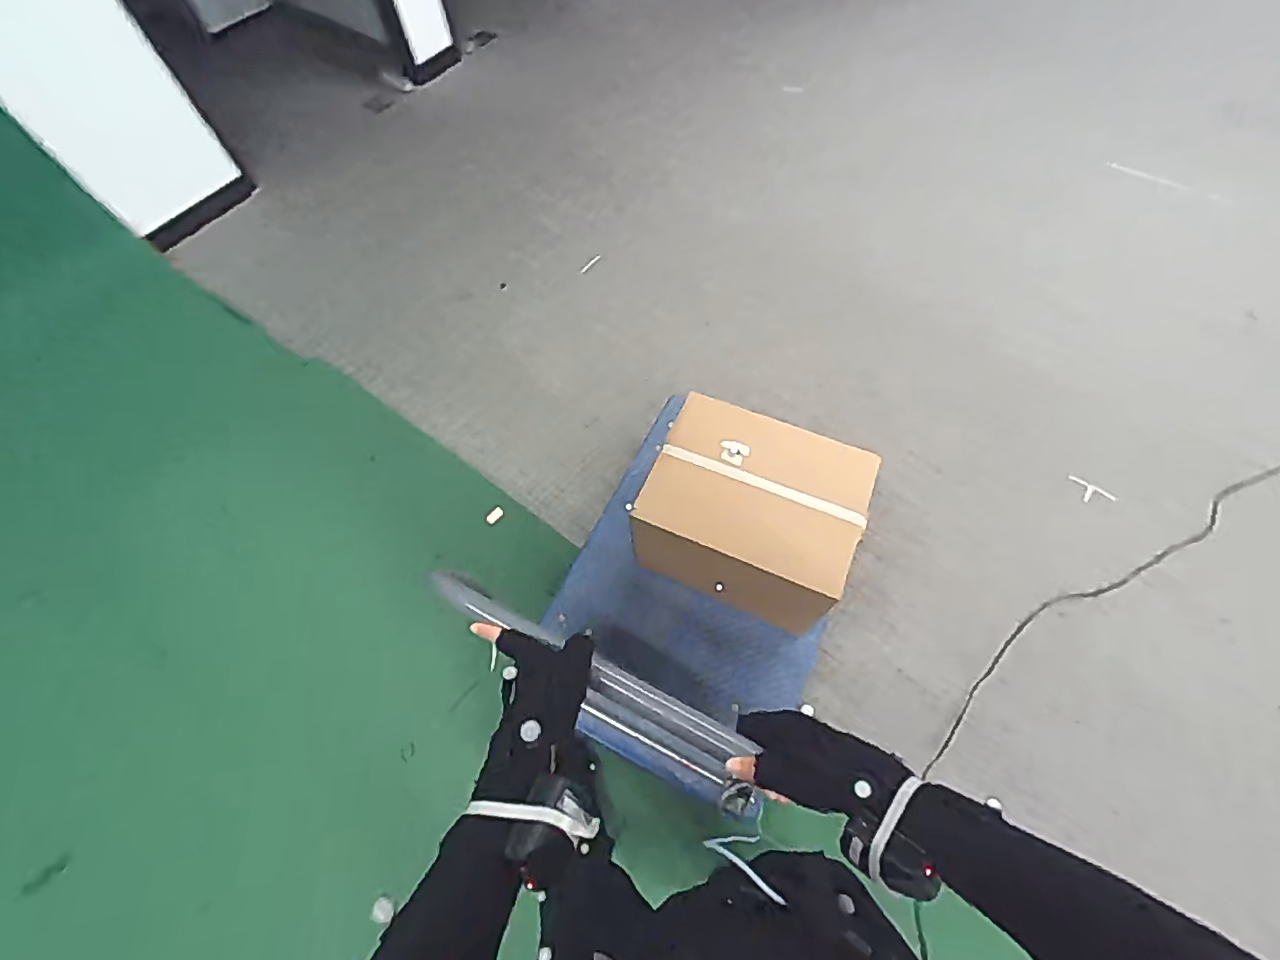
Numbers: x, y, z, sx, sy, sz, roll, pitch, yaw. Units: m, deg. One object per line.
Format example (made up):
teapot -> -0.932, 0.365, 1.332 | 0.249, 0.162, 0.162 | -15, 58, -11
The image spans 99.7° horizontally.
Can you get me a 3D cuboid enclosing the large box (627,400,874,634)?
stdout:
large box -> 0.227, 0.088, 1.168 | 0.408, 0.320, 0.320 | 21, 65, 14
